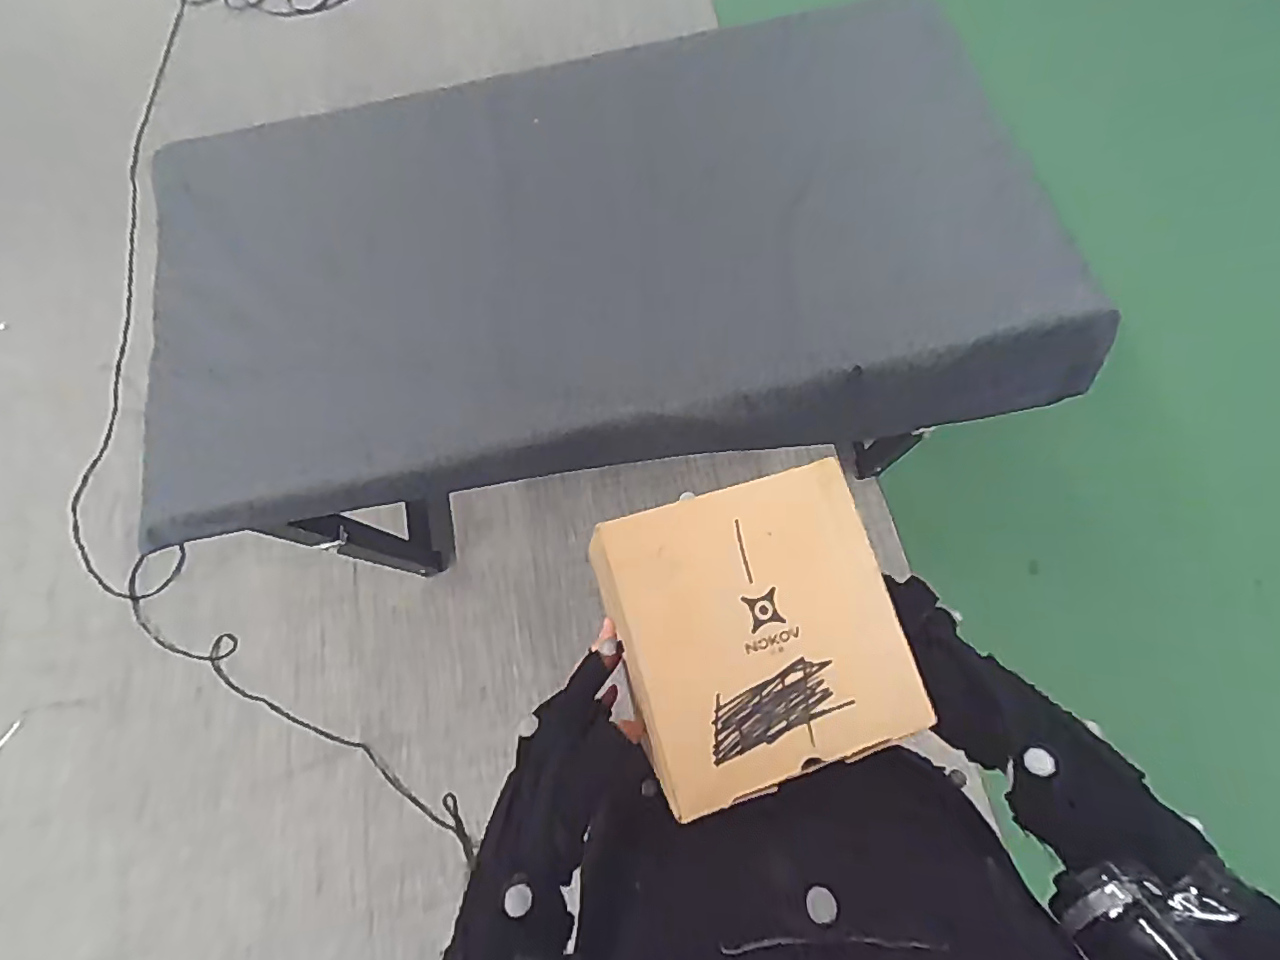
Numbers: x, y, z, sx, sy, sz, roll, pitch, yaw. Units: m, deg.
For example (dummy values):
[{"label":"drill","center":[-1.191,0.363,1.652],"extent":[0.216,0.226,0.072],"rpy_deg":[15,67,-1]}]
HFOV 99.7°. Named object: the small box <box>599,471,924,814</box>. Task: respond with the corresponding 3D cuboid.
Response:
[{"label":"small box","center":[0.069,0.109,0.414],"extent":[0.168,0.176,0.179],"rpy_deg":[-14,79,-10]}]
